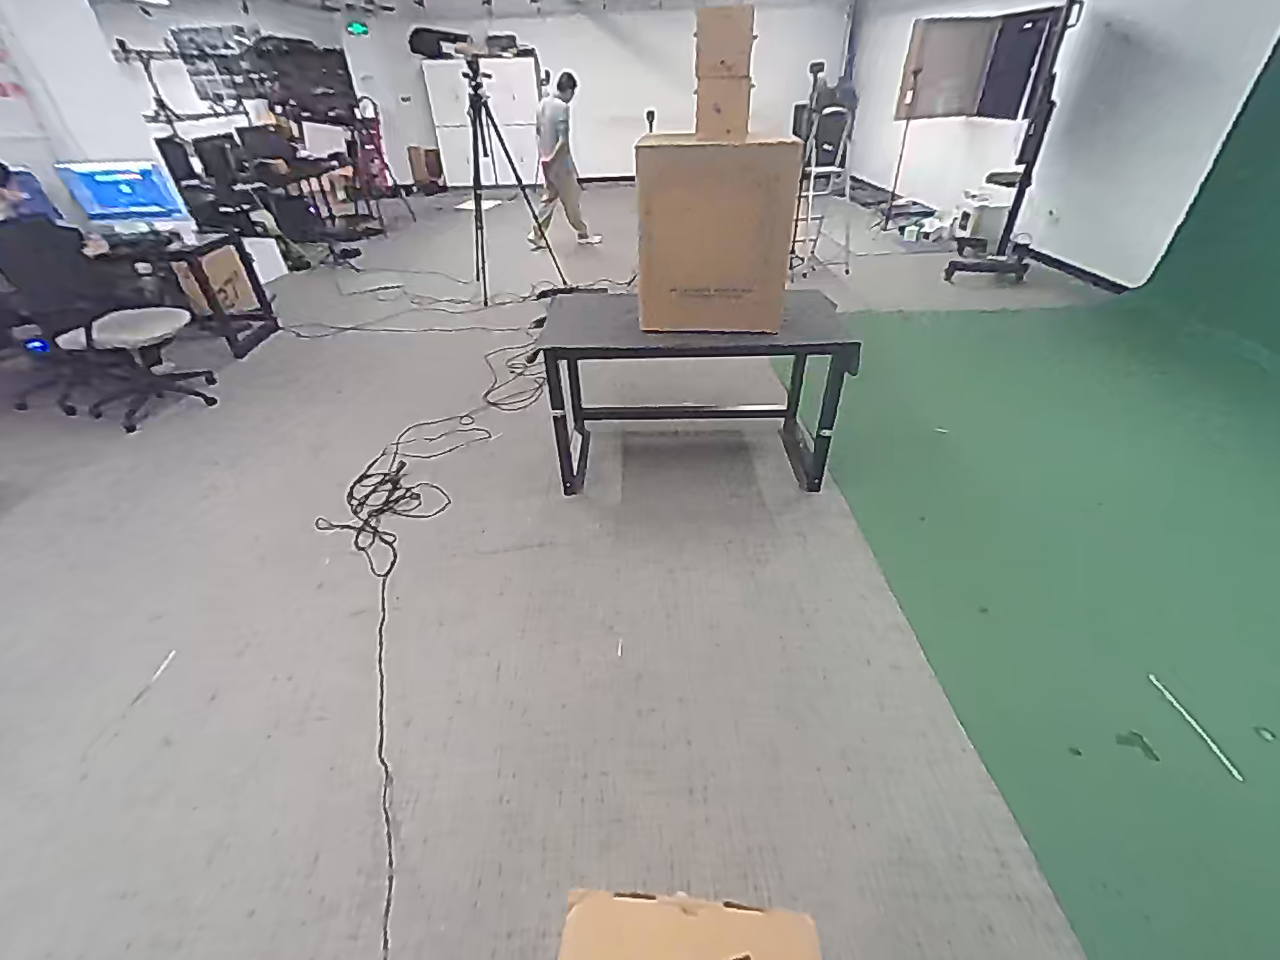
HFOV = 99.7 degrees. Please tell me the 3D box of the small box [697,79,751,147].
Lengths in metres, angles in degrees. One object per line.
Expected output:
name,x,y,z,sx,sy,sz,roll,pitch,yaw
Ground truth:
small box,0.271,-1.184,1.748,0.168,0.176,0.179,4,38,8
